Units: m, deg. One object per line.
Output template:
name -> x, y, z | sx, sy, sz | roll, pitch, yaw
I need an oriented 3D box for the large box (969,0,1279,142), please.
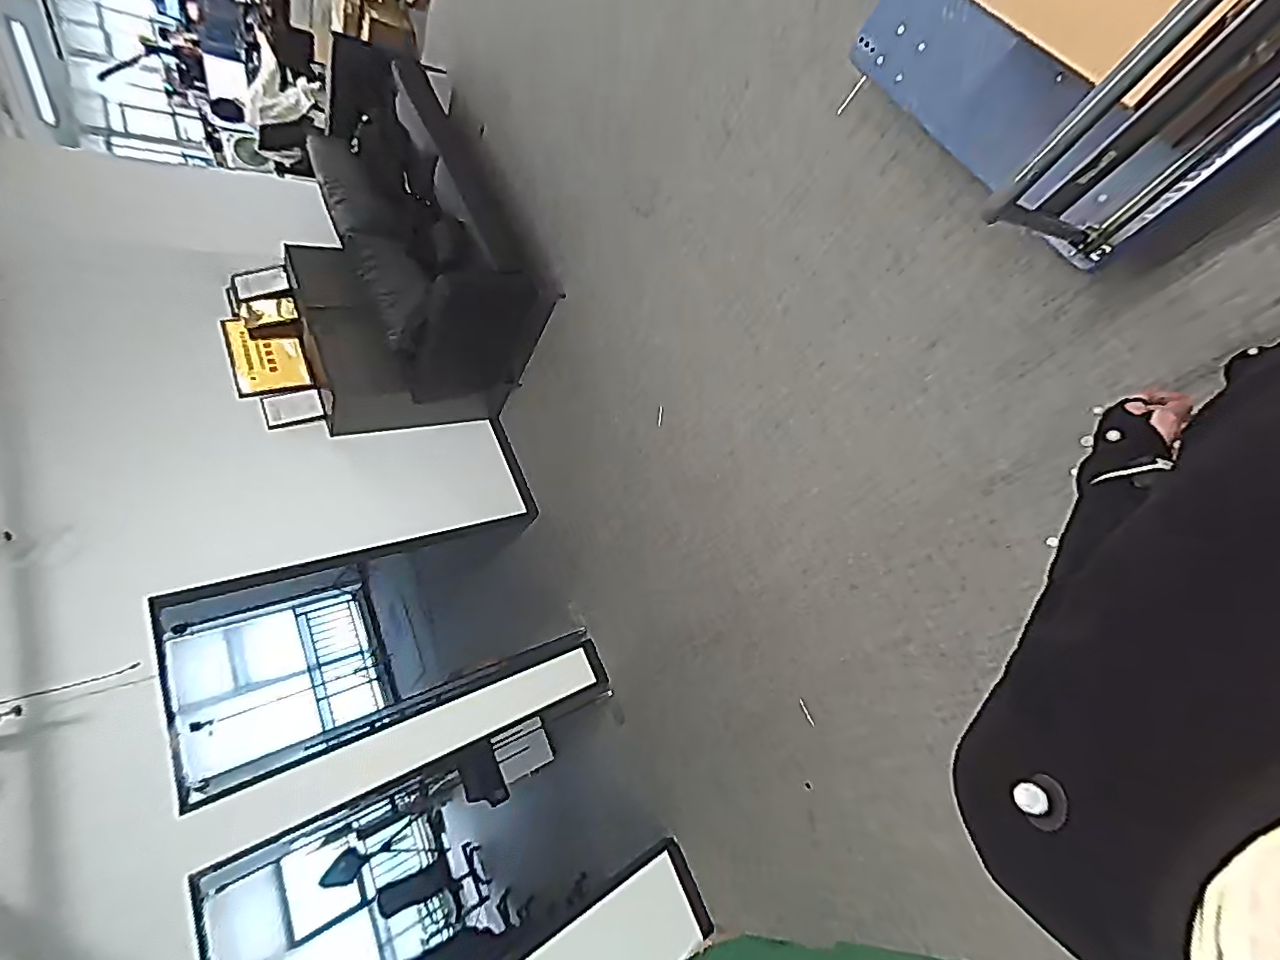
large box -> 0.866, -0.841, 0.892 | 0.408, 0.320, 0.320 | 61, 139, 23
